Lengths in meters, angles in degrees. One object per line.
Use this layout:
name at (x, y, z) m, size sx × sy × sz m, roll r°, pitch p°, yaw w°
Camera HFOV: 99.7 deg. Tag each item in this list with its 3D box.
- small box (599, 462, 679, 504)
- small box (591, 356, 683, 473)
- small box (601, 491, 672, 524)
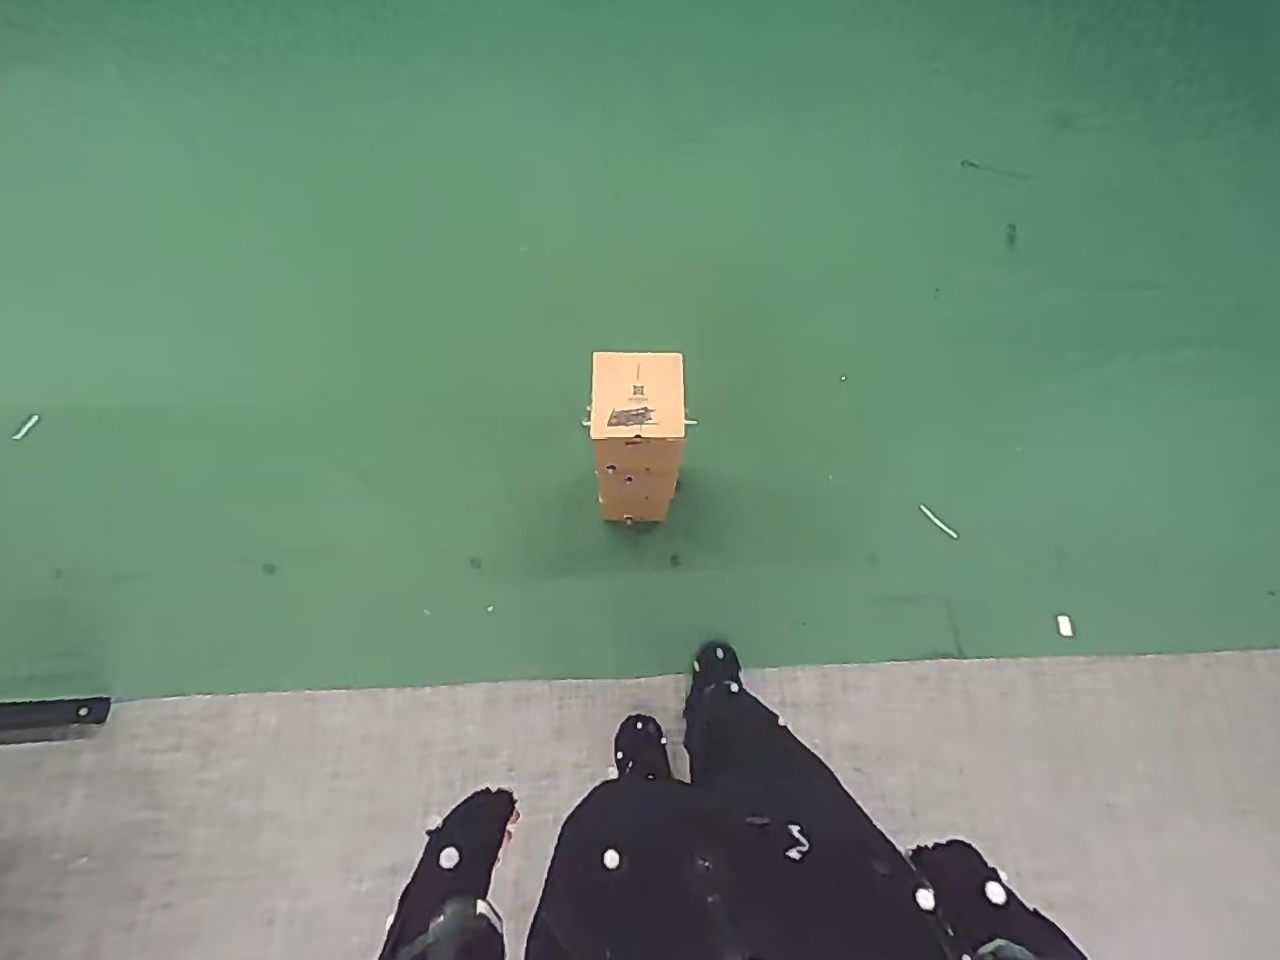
small box at (-0.003, -0.057, 1.197) m, size 0.168 × 0.176 × 0.179 m, roll 1°, pitch 69°, yaw -1°
small box at (-0.004, -0.119, 1.044) m, size 0.168 × 0.176 × 0.179 m, roll 1°, pitch 69°, yaw -1°
small box at (-0.010, 0.003, 1.349) m, size 0.168 × 0.176 × 0.179 m, roll 0°, pitch 71°, yaw -1°
